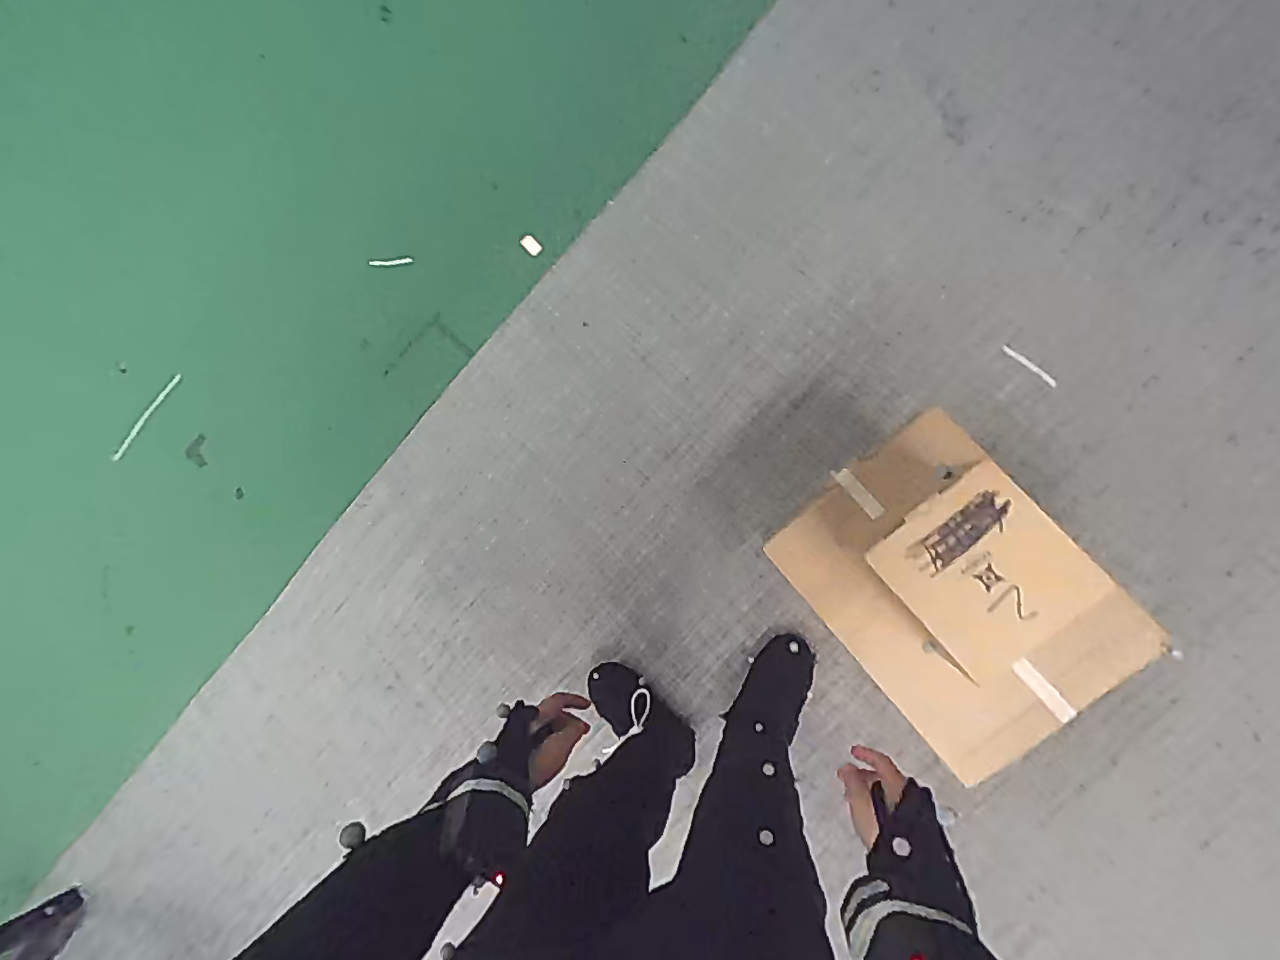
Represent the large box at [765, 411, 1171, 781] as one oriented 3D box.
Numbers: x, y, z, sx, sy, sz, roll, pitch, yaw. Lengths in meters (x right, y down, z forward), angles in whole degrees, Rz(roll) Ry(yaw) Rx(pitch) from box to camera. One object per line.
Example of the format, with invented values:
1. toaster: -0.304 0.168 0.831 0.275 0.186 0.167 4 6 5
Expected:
1. large box: 0.447 0.155 0.864 0.320 0.320 0.408 -42 79 8
